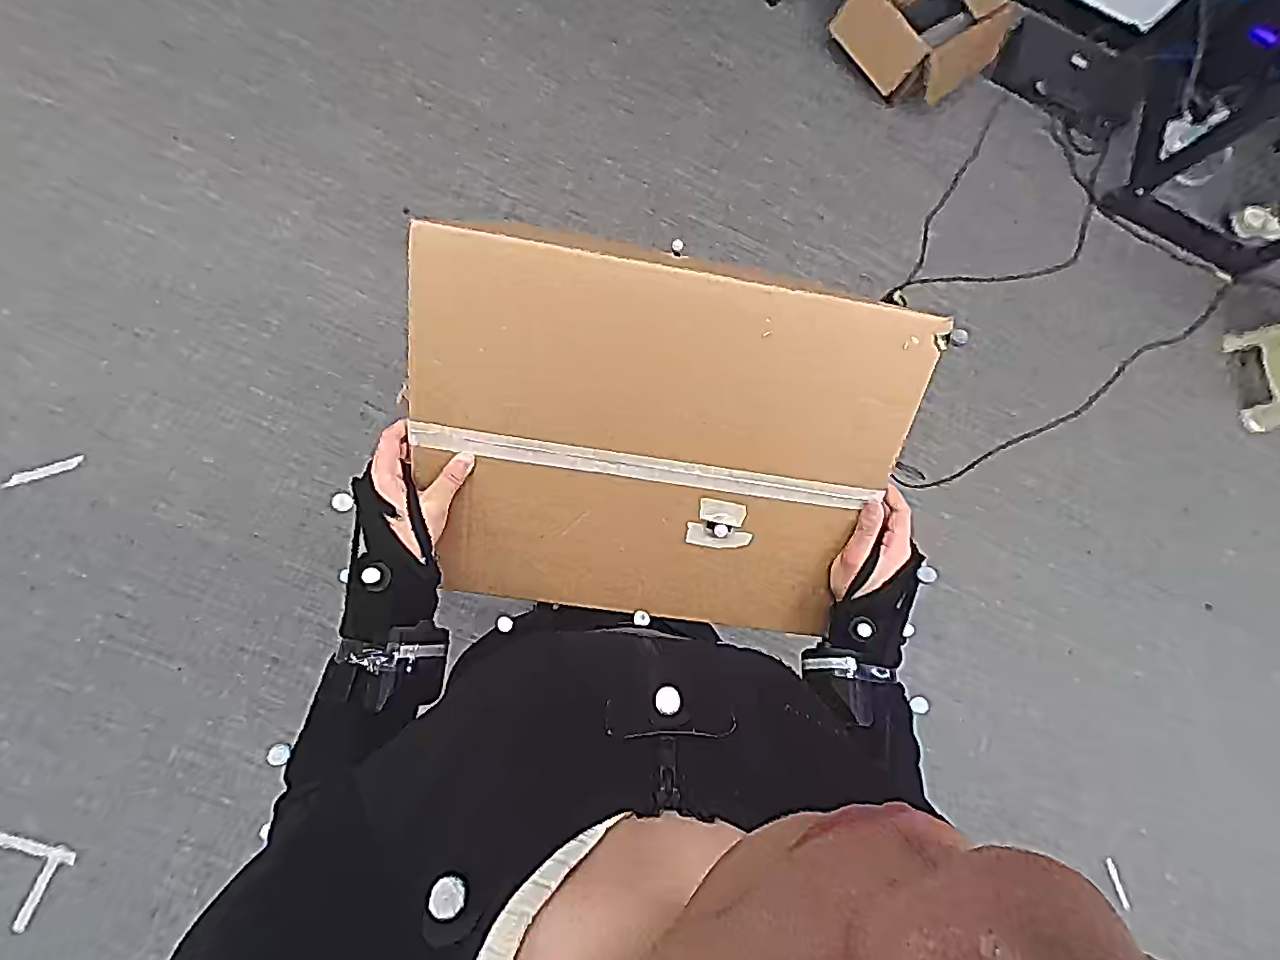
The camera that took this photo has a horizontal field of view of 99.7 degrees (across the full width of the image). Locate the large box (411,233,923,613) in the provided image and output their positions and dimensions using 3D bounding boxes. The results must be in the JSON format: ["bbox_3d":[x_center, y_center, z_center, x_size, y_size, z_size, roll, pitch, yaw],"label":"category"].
[{"bbox_3d":[0.001,-0.083,0.604,0.408,0.320,0.320,7,116,-6],"label":"large box"}]
